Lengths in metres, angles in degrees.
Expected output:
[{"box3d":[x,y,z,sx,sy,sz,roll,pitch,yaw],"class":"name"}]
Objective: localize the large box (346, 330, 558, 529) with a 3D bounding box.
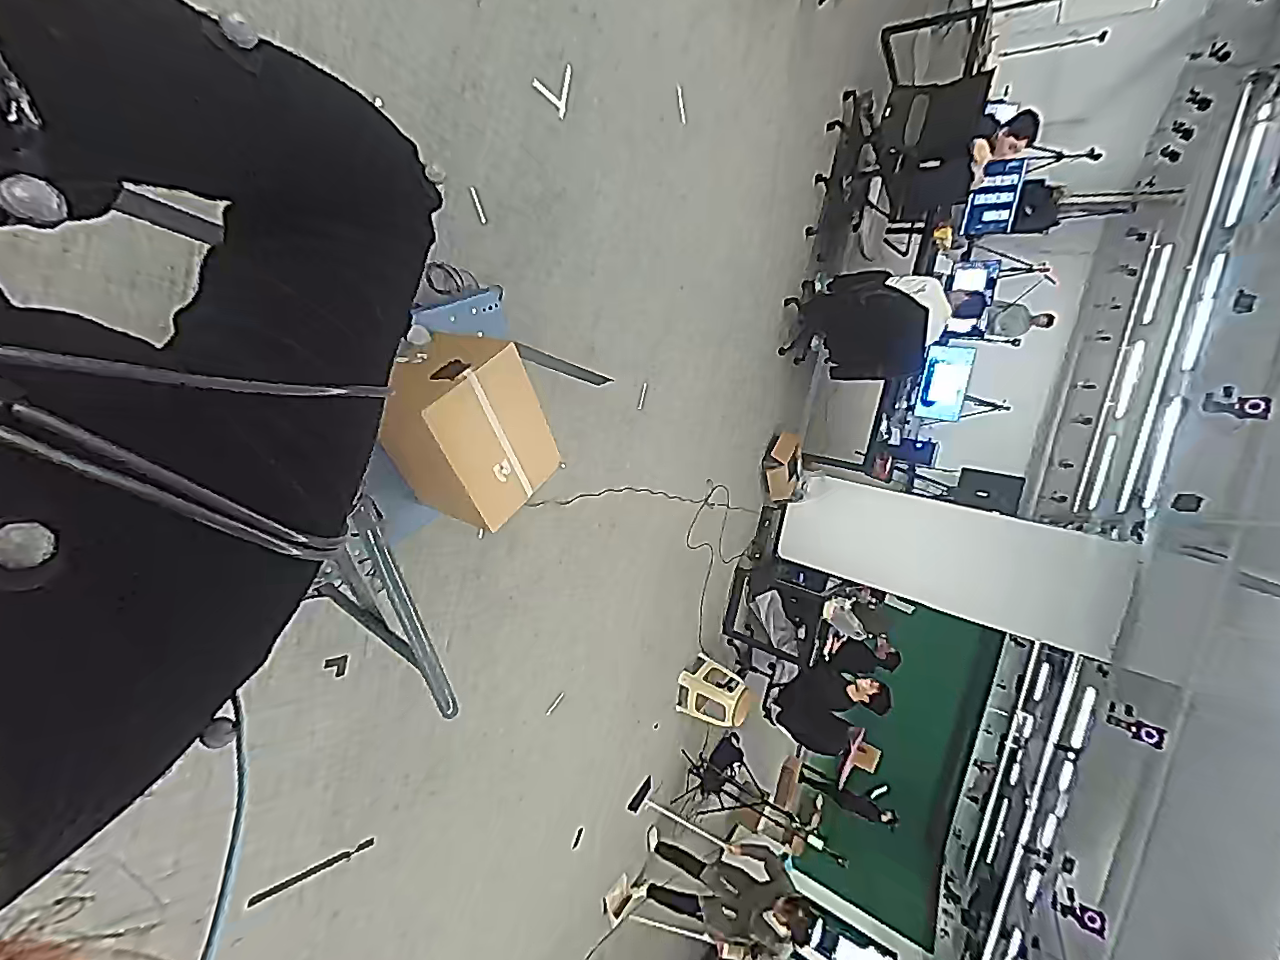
[{"box3d":[-0.486,-0.142,1.458,0.320,0.320,0.408,-50,141,-33],"class":"large box"}]
